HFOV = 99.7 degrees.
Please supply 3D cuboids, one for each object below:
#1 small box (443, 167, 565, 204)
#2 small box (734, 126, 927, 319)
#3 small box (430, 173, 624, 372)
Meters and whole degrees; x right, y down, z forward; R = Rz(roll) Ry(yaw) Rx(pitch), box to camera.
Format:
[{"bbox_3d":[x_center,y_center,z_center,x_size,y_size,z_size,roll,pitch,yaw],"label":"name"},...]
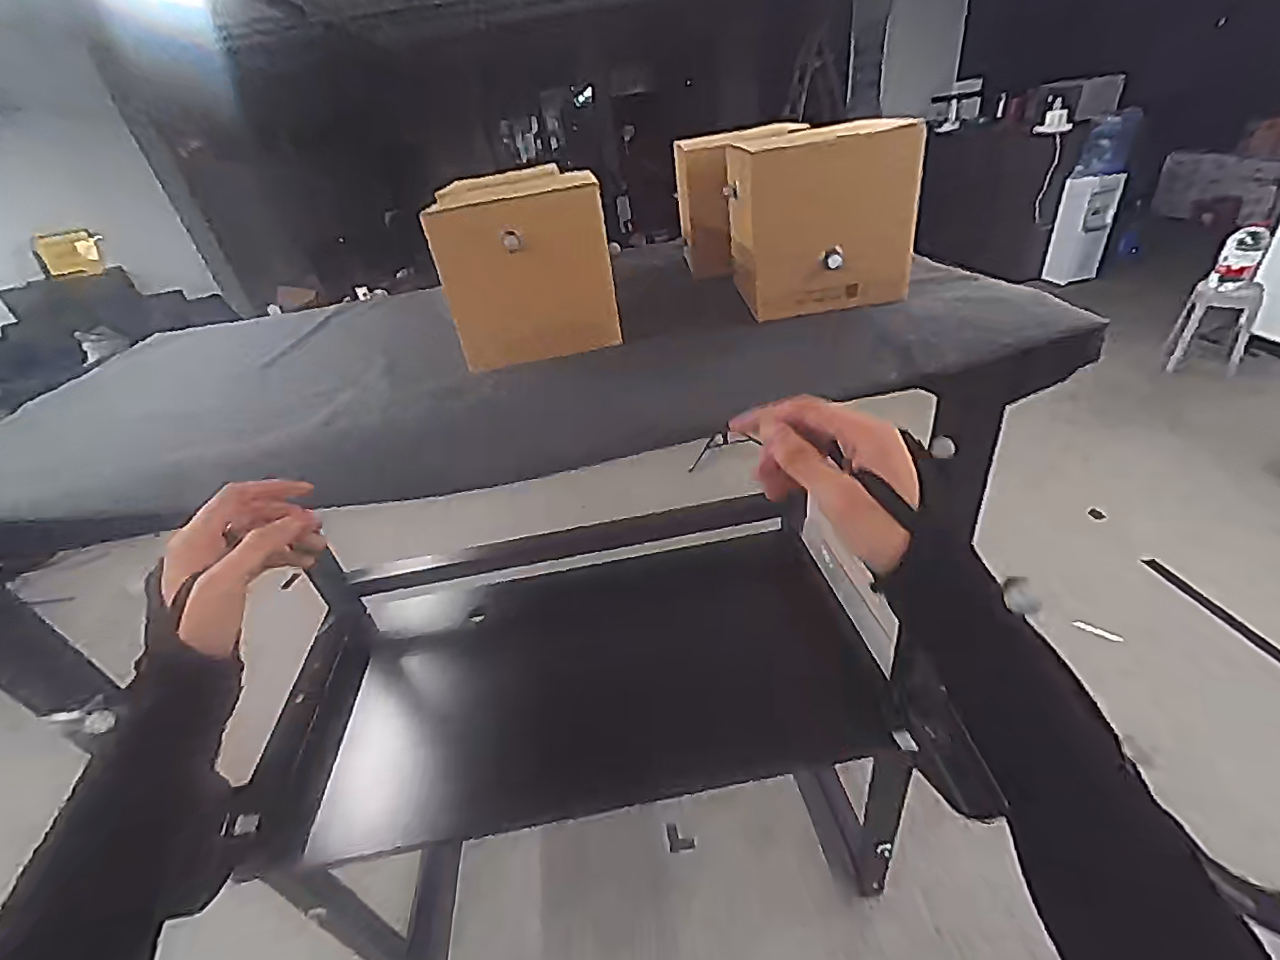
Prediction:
[{"bbox_3d":[-0.183,-0.374,0.838,0.168,0.176,0.179,-11,34,-1],"label":"small box"},{"bbox_3d":[0.203,-0.300,0.630,0.168,0.176,0.179,-7,34,5],"label":"small box"},{"bbox_3d":[-0.117,-0.244,0.632,0.179,0.176,0.168,-11,34,-1],"label":"small box"}]
